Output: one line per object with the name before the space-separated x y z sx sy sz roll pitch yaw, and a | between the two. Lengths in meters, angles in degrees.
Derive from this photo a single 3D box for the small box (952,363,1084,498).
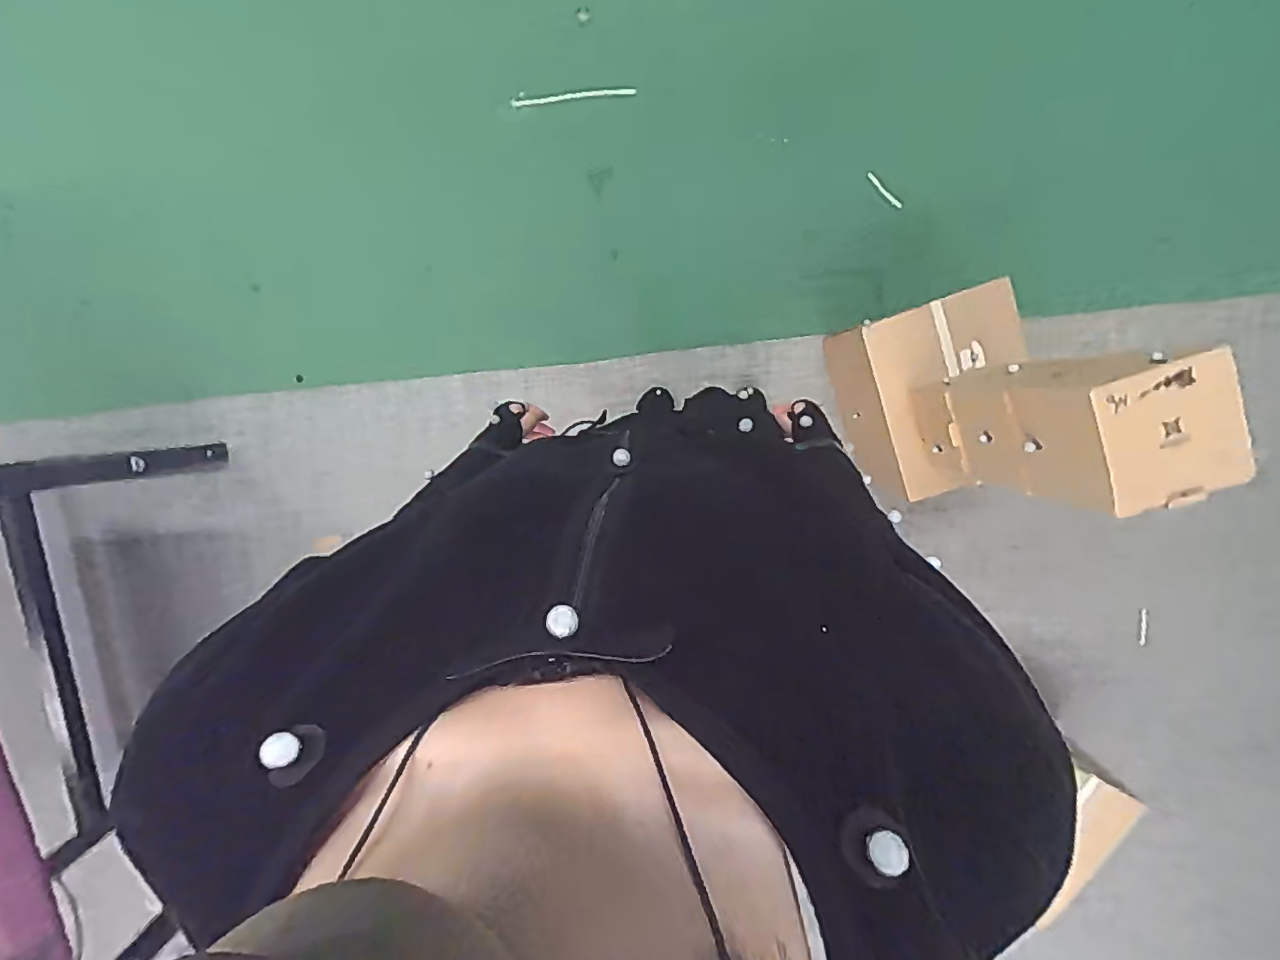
small box | 0.658 -0.089 0.899 0.168 0.176 0.179 -19 97 6

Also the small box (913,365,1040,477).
small box | 0.662 -0.117 1.060 0.179 0.176 0.168 -18 98 5

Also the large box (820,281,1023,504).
large box | 0.673 -0.197 1.294 0.320 0.320 0.408 -19 96 4

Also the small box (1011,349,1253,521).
small box | 0.651 -0.067 0.736 0.168 0.176 0.179 -18 99 5
